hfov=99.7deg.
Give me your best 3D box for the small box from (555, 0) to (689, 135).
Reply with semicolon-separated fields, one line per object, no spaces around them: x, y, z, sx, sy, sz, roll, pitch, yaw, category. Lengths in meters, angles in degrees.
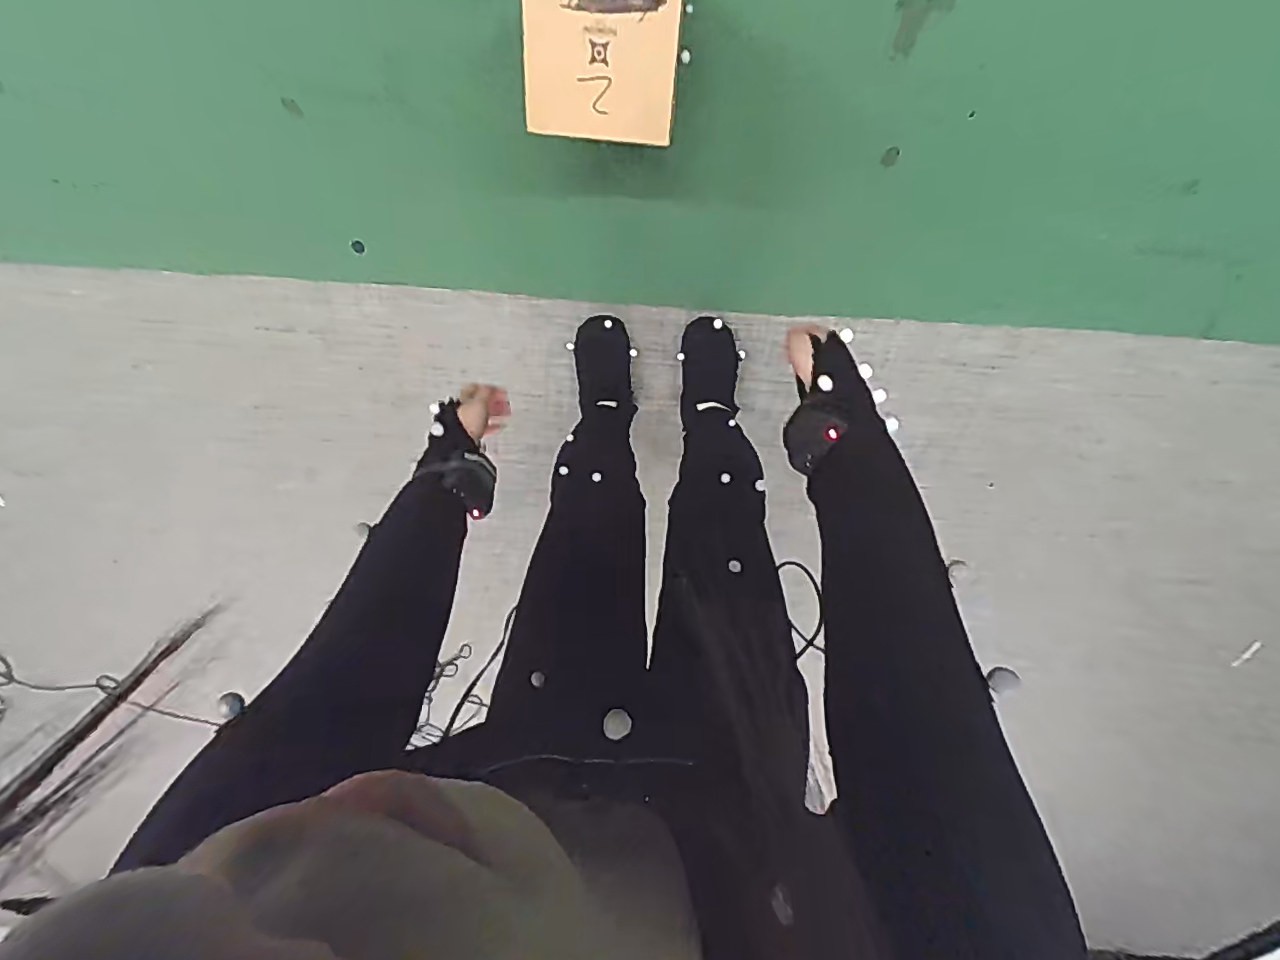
-0.023;-0.600;0.759;0.168;0.176;0.179;6;125;1;small box
